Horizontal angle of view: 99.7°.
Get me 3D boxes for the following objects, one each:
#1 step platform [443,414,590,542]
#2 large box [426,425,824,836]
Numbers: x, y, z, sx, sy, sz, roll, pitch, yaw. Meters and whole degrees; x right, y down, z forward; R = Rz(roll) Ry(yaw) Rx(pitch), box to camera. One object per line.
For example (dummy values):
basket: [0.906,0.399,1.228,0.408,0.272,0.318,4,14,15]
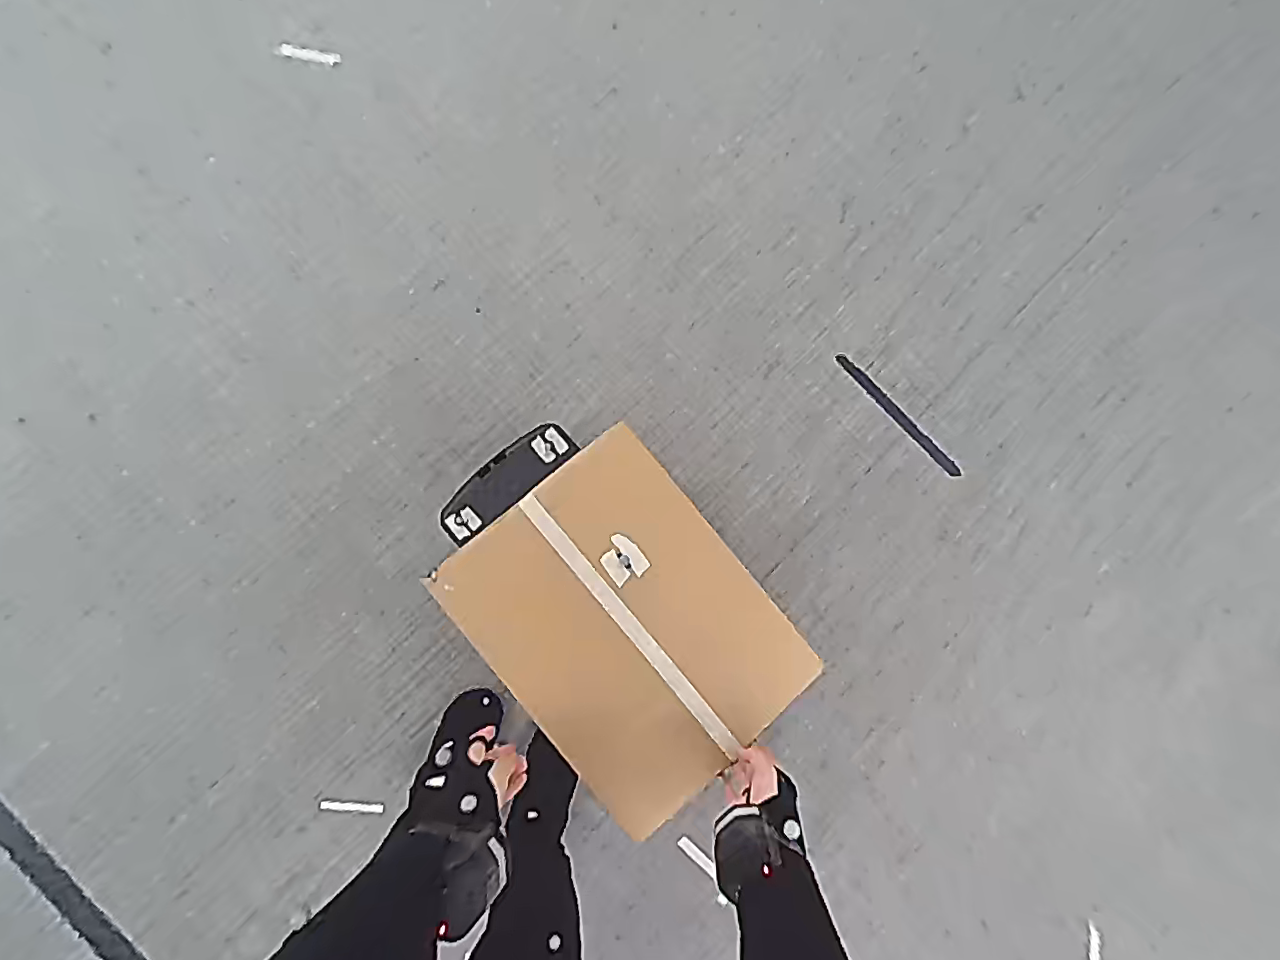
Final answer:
step platform: [-0.067,0.210,1.036,0.286,0.204,0.684,-37,87,-8]
large box: [-0.023,0.191,0.801,0.320,0.320,0.408,-40,88,-9]
